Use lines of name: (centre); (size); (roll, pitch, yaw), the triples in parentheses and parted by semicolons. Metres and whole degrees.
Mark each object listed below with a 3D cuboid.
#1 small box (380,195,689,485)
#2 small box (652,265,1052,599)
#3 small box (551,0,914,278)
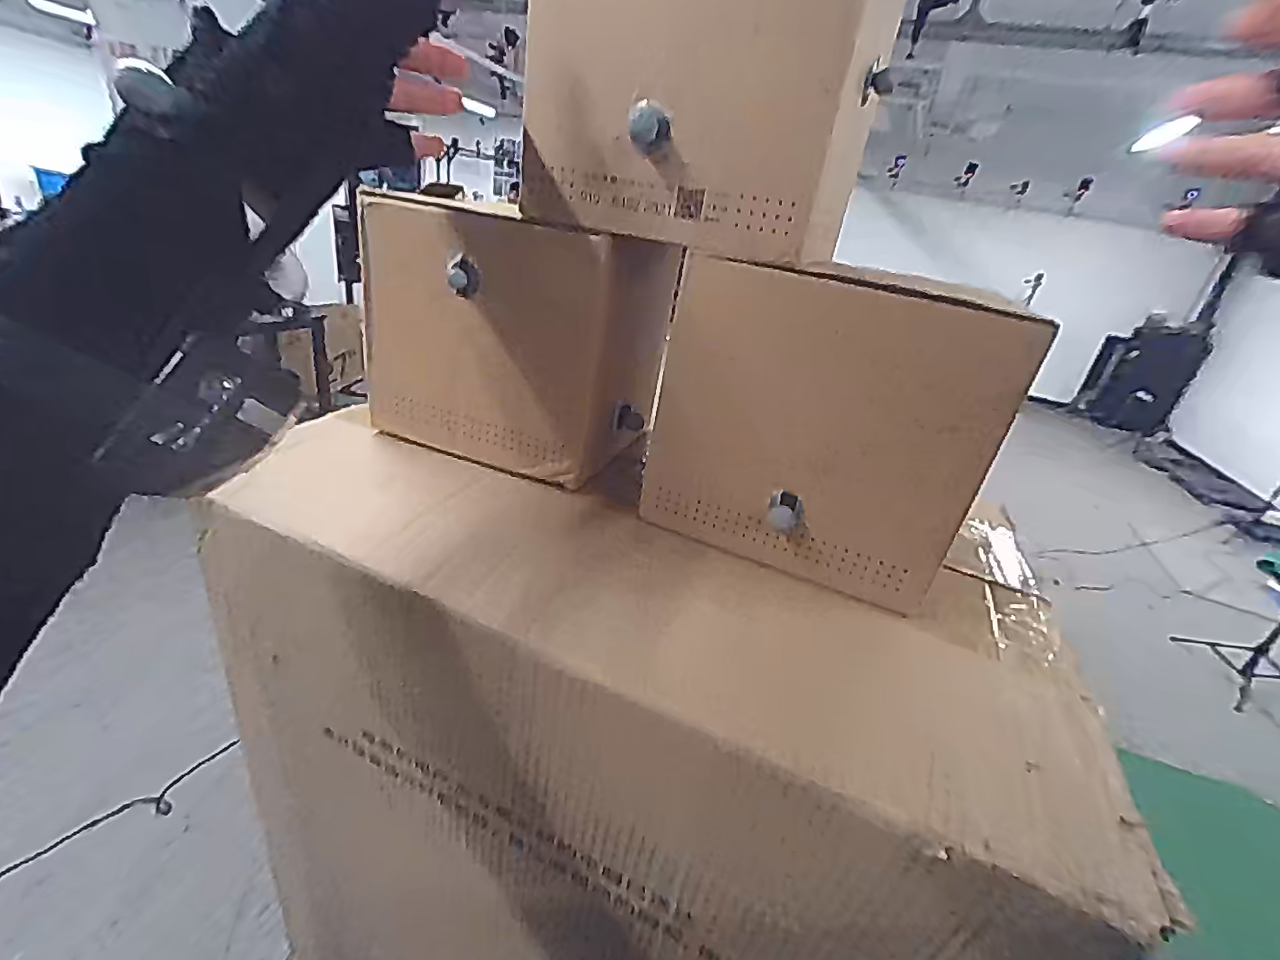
small box: (-0.076, -0.113, 0.430); (0.179, 0.176, 0.168); (17, 27, 13)
small box: (0.125, -0.045, 0.368); (0.179, 0.176, 0.168); (18, 27, 16)
small box: (0.056, -0.228, 0.335); (0.168, 0.176, 0.179); (18, 28, 17)
